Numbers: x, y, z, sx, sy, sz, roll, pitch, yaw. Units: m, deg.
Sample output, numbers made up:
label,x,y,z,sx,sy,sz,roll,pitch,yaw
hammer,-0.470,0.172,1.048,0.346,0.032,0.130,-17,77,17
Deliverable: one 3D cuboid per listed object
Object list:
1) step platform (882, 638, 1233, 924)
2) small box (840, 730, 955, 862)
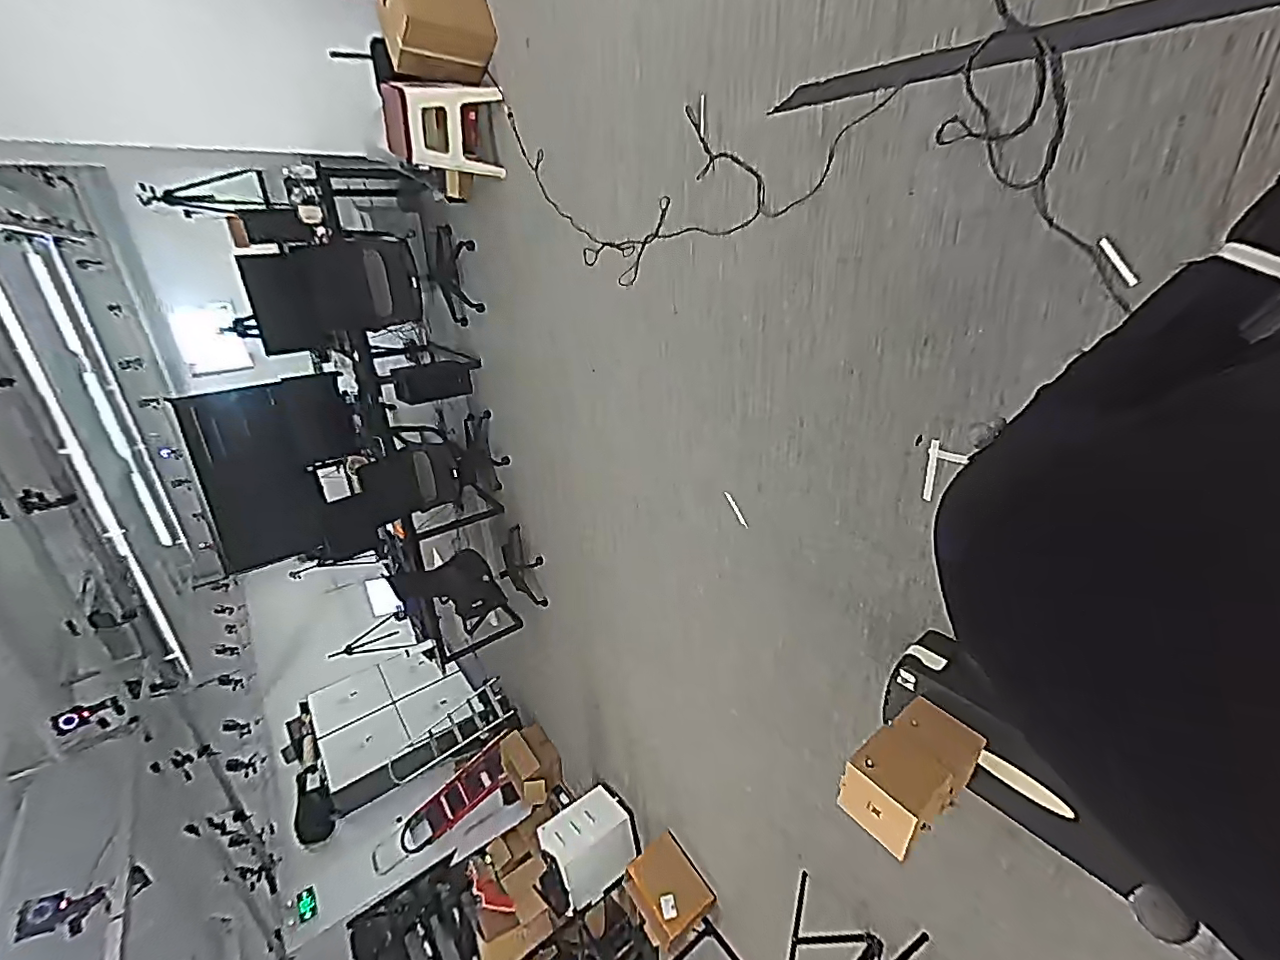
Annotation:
label,x,y,z,sx,sy,sz,roll,pitch,yaw
step platform,0.969,0.707,1.362,0.684,0.204,0.286,26,128,47
small box,0.609,0.737,1.283,0.179,0.176,0.168,31,131,46
